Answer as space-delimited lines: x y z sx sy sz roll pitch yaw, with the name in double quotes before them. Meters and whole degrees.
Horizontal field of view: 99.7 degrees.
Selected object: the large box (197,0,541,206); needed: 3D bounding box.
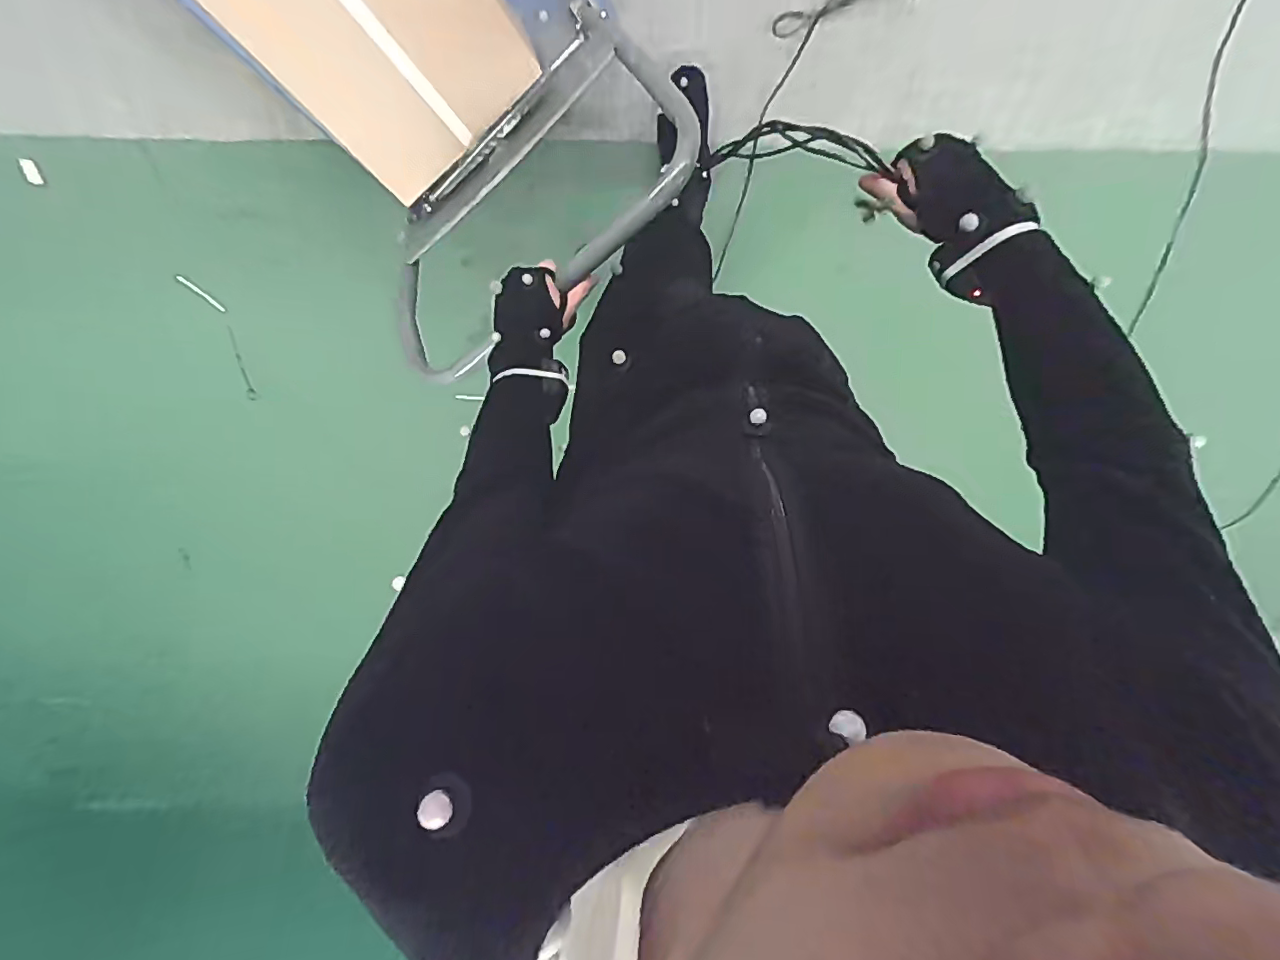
"large box" -0.409 -0.746 0.861 0.320 0.320 0.408 -33 132 17
